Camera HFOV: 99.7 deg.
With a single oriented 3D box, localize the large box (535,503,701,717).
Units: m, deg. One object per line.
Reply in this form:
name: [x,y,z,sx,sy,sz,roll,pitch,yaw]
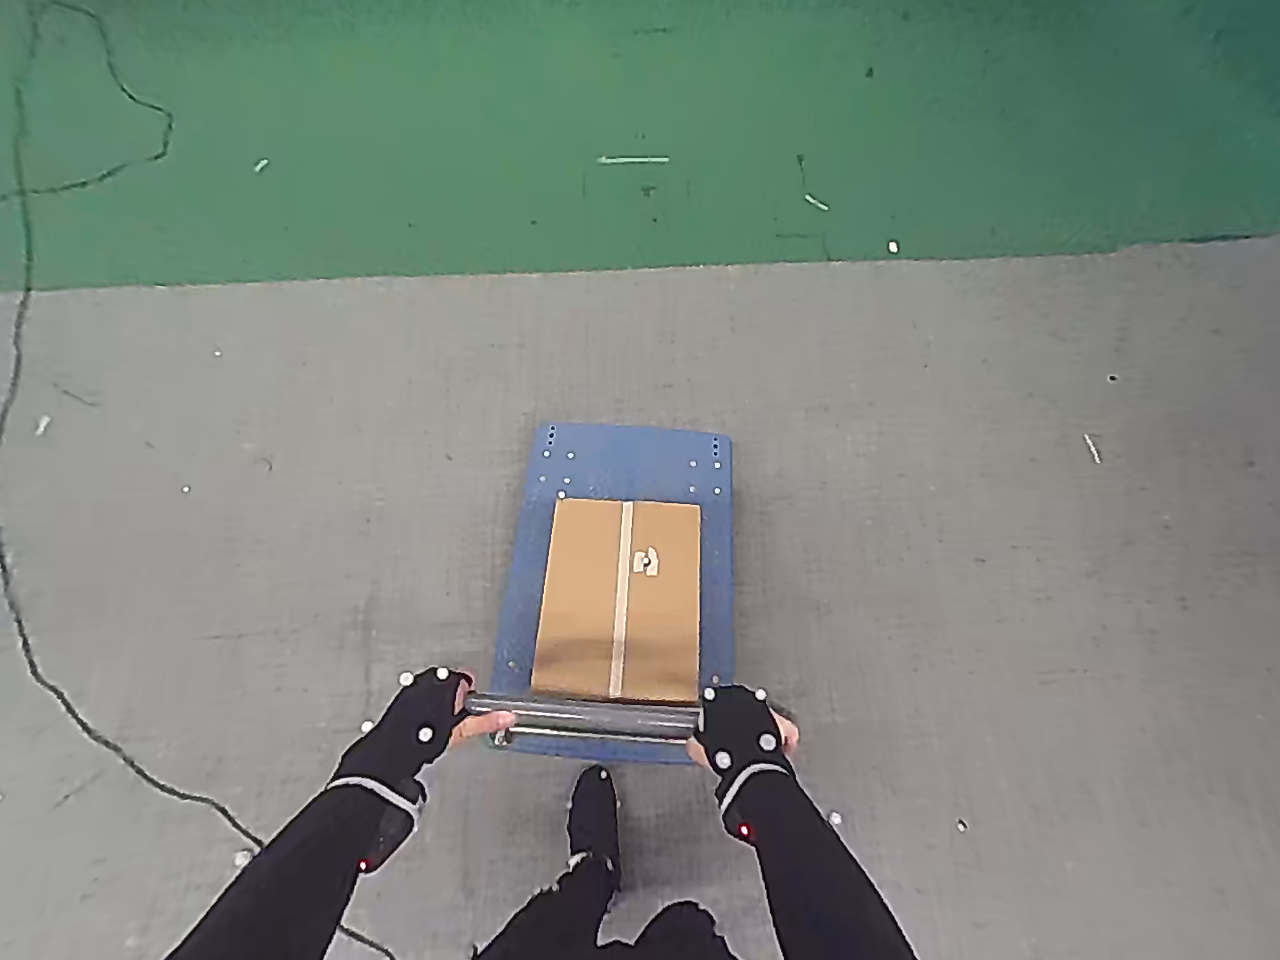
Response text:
large box: [-0.034,0.302,1.215,0.320,0.320,0.408,4,63,1]
